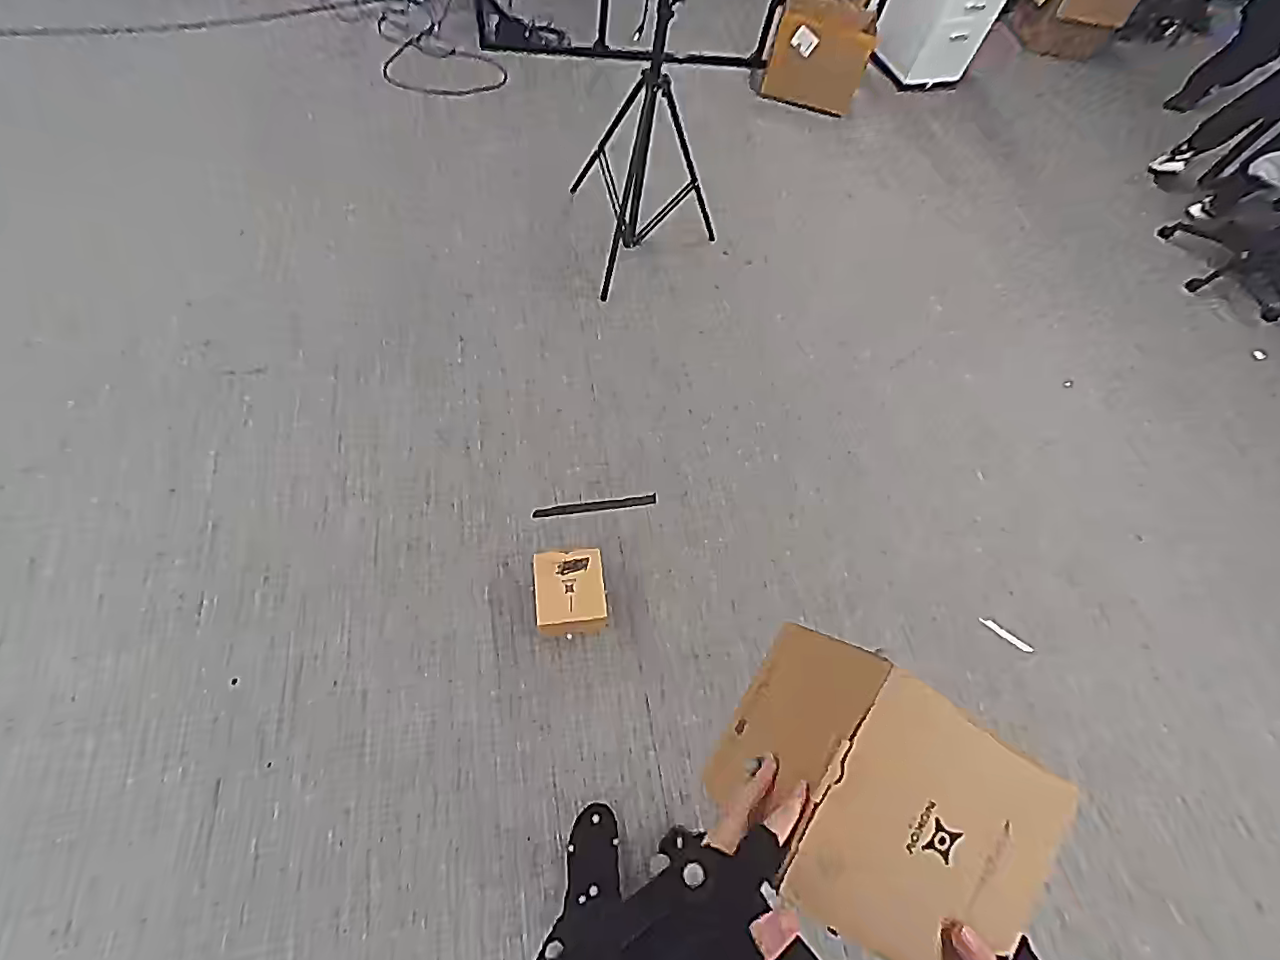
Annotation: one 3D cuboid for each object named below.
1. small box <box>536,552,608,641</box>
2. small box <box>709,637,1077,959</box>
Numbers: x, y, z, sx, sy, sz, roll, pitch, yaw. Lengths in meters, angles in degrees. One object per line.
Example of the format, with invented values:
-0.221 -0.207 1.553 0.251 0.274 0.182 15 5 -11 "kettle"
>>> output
-0.176 0.298 1.368 0.168 0.176 0.179 -4 64 -10 "small box"
0.182 0.246 0.439 0.179 0.176 0.168 34 81 -7 "small box"
